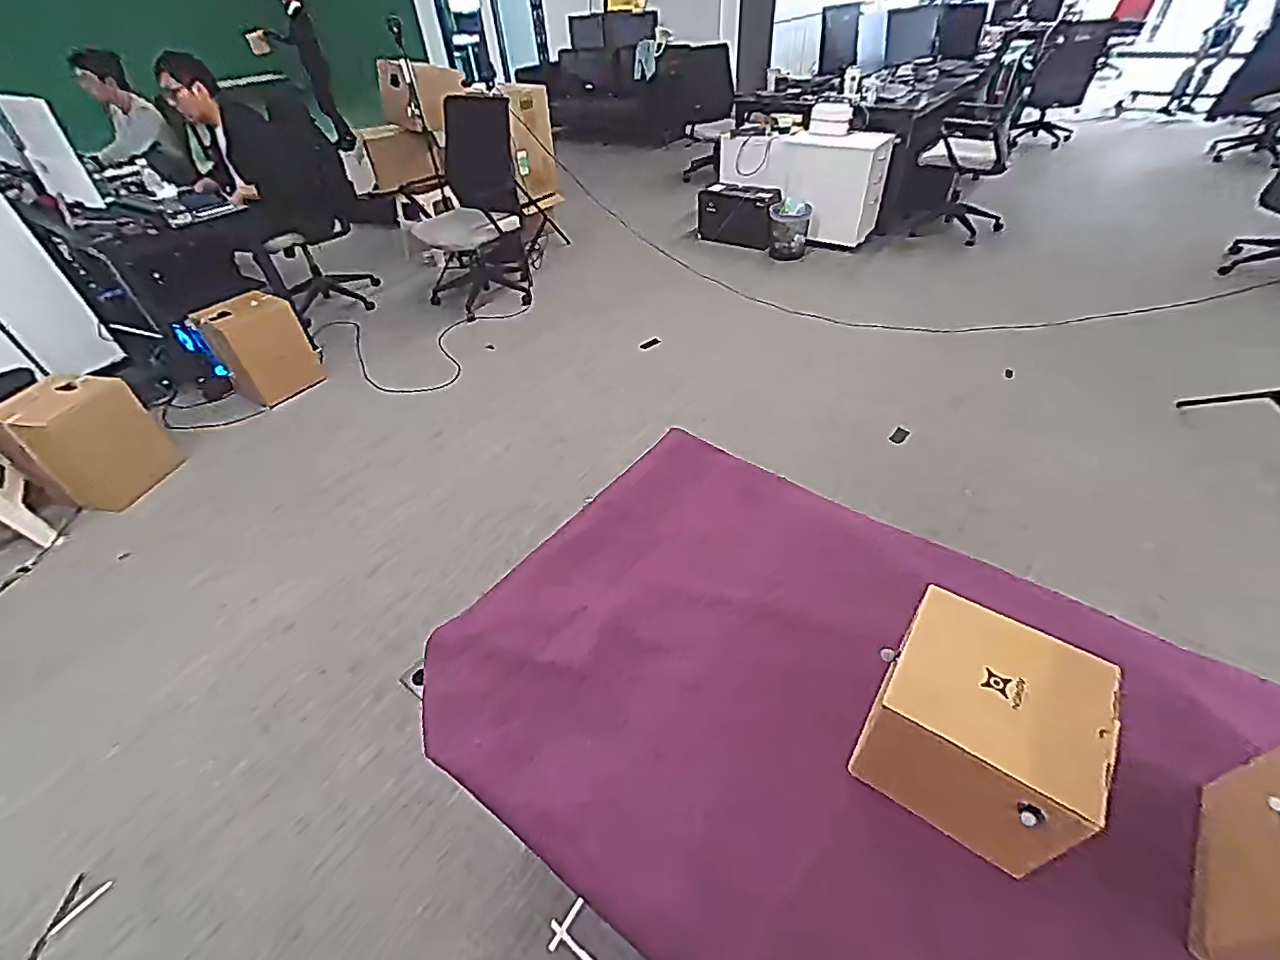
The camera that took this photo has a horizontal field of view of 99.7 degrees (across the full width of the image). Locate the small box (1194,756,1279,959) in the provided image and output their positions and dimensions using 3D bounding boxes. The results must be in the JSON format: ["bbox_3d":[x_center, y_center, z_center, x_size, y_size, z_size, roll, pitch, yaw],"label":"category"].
[{"bbox_3d":[0.604,0.344,0.435,0.168,0.176,0.179,27,52,30],"label":"small box"}]

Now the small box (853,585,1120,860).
[{"bbox_3d":[0.345,0.250,0.562,0.179,0.176,0.168,25,50,27],"label":"small box"}]
